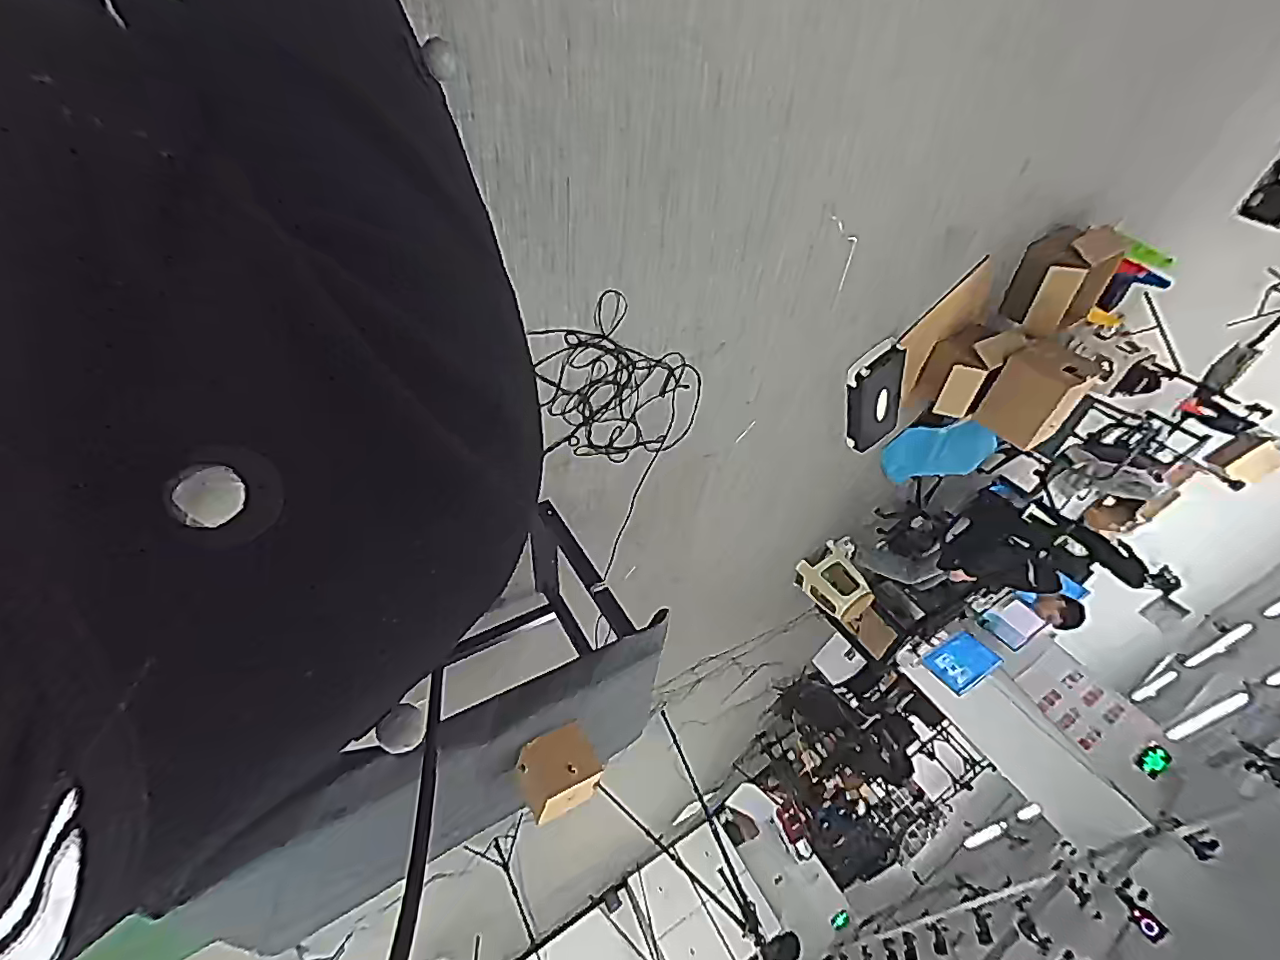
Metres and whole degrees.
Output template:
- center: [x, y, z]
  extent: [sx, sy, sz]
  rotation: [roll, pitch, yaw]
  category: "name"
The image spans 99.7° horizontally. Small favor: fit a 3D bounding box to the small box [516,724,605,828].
- center: [-0.228, 0.827, 1.527]
  extent: [0.179, 0.176, 0.168]
  rotation: [-9, 132, -35]
  category: "small box"
